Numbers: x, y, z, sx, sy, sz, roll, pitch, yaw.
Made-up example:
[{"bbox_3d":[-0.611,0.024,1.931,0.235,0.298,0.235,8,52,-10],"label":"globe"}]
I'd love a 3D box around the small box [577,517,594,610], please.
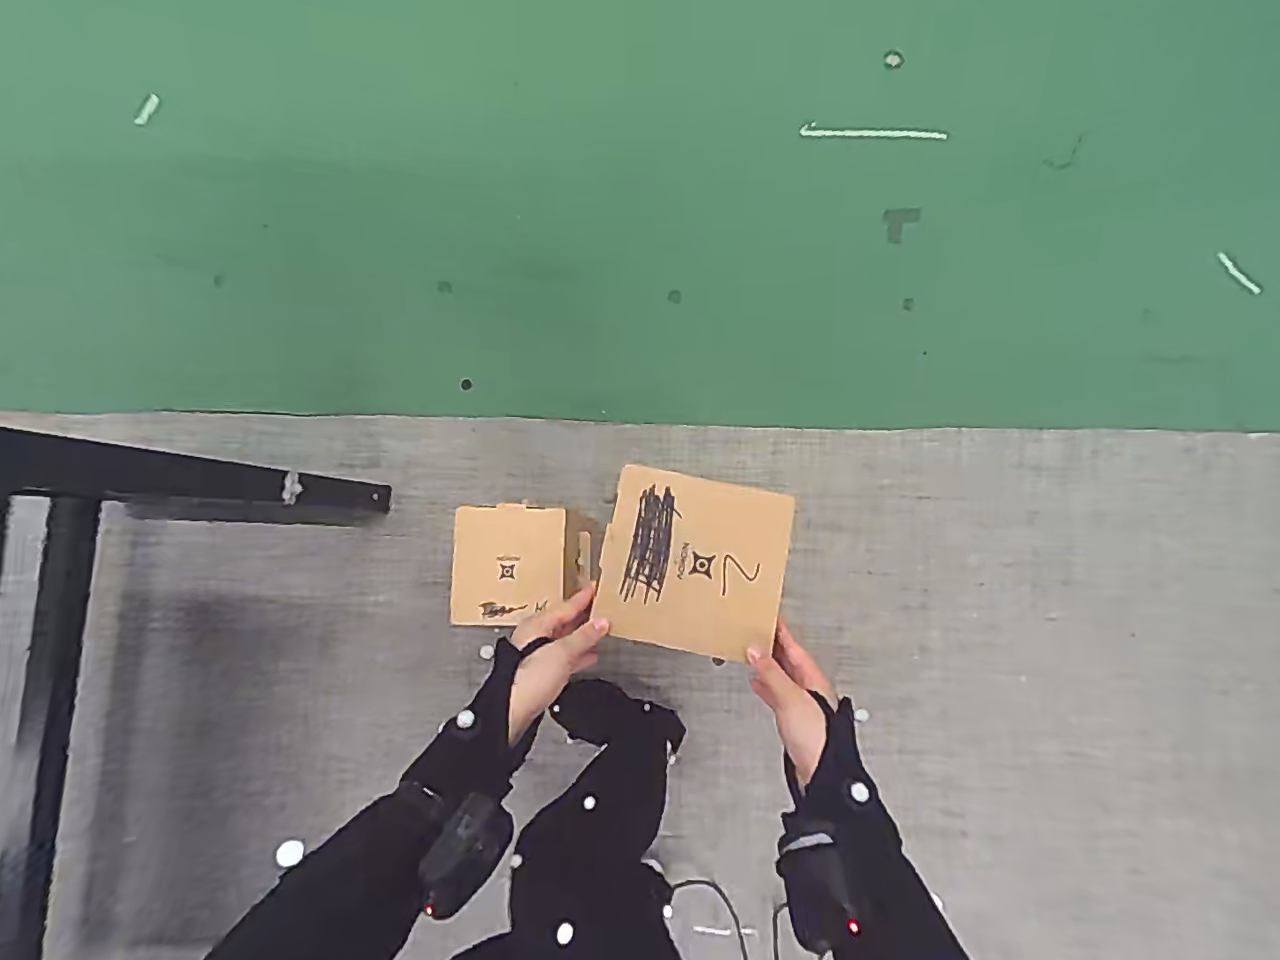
[{"bbox_3d":[-0.183,0.152,1.032,0.179,0.176,0.168,0,85,2],"label":"small box"}]

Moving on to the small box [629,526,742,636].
[{"bbox_3d":[0.080,0.182,1.024,0.179,0.176,0.168,10,85,1],"label":"small box"}]

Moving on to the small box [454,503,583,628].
[{"bbox_3d":[-0.183,0.133,0.868,0.168,0.176,0.179,3,84,0],"label":"small box"}]
